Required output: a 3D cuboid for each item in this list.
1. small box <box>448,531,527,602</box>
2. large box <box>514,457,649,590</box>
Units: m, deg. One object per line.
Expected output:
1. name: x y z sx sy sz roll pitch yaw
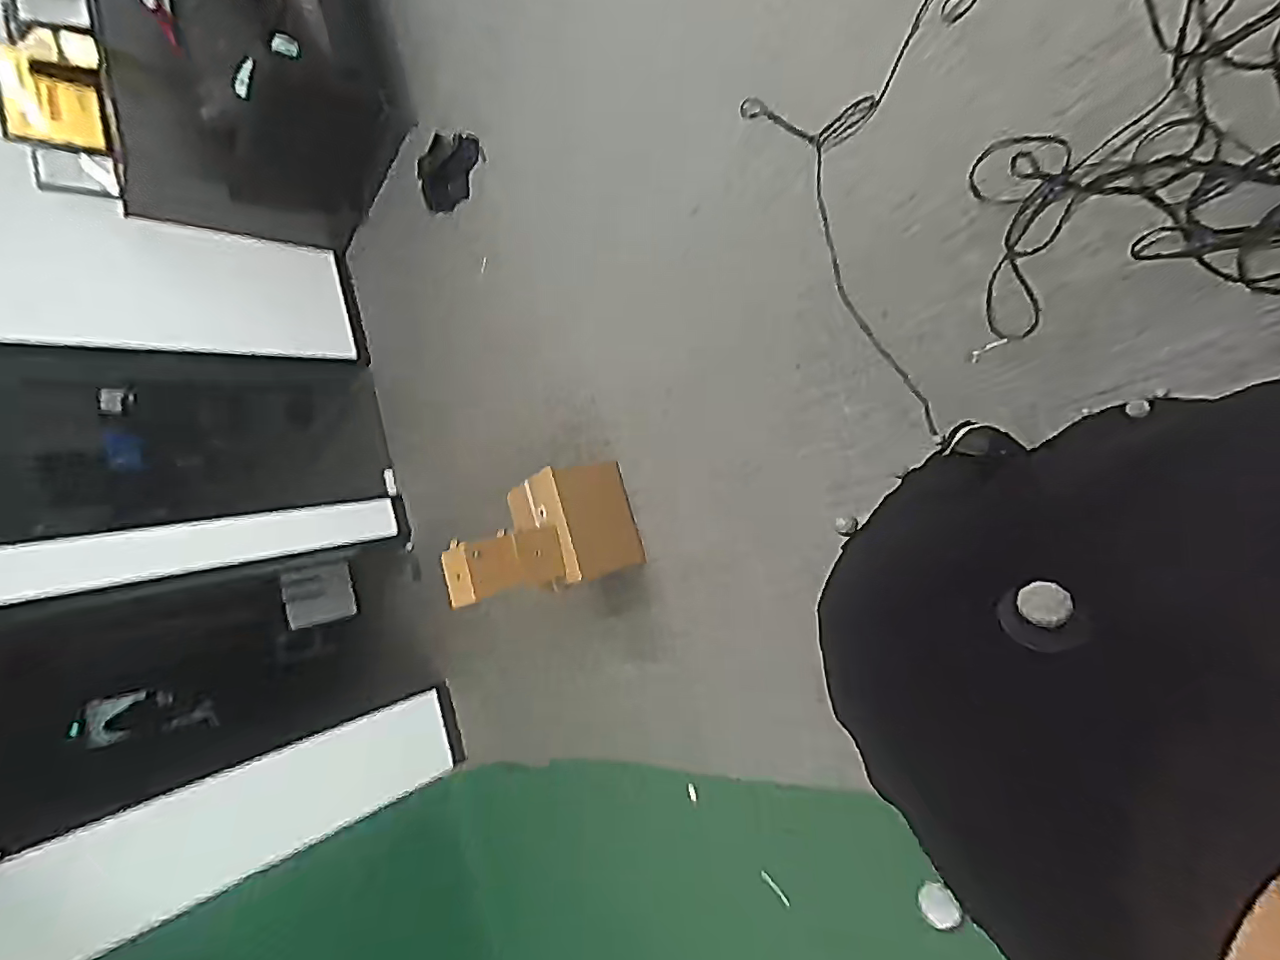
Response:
1. small box: -0.480 0.271 1.709 0.168 0.176 0.179 -24 79 45
2. large box: -0.218 0.158 2.009 0.320 0.320 0.408 -26 77 43
